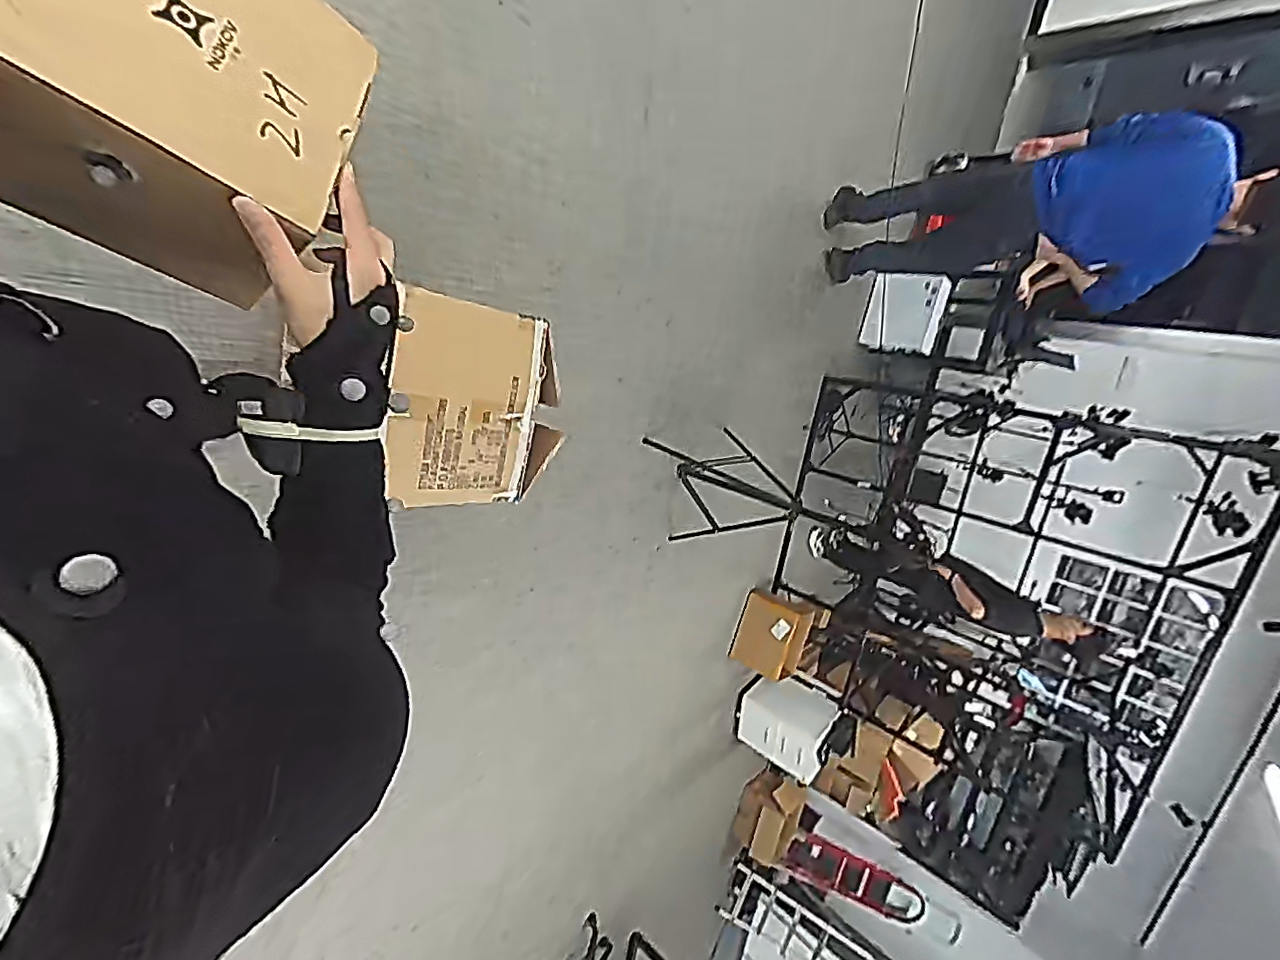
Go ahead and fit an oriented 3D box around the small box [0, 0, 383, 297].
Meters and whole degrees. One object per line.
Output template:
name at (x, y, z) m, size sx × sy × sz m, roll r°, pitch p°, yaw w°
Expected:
small box at (-0.315, -0.253, 0.368) m, size 0.179 × 0.176 × 0.168 m, roll 24°, pitch 68°, yaw -45°
